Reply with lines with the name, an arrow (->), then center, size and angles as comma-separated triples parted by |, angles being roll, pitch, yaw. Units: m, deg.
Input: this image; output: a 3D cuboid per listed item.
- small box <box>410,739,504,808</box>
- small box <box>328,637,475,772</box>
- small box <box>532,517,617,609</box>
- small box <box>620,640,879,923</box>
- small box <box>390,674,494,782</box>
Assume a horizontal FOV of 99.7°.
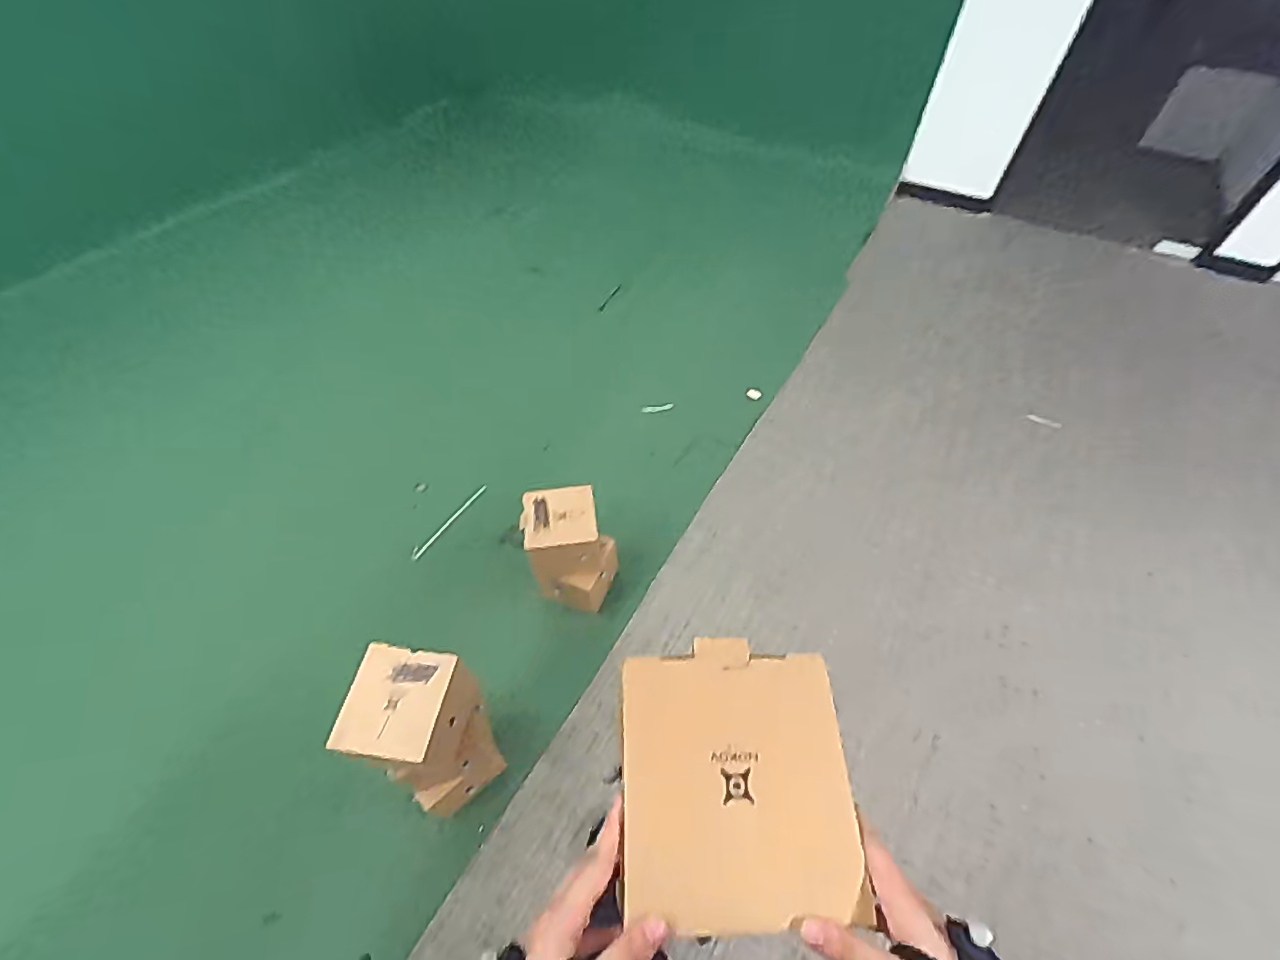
small box -> -0.432, 0.613, 1.227 | 0.168, 0.176, 0.179 | -35, 61, -24
small box -> -0.412, 0.407, 0.974 | 0.168, 0.176, 0.179 | 8, 55, 4
small box -> -0.177, 0.235, 1.508 | 0.179, 0.176, 0.168 | 18, 55, 13
small box -> 0.069, 0.246, 0.456 | 0.168, 0.176, 0.179 | 0, 57, -4
small box -> -0.409, 0.499, 1.111 | 0.168, 0.176, 0.179 | -16, 55, -14
